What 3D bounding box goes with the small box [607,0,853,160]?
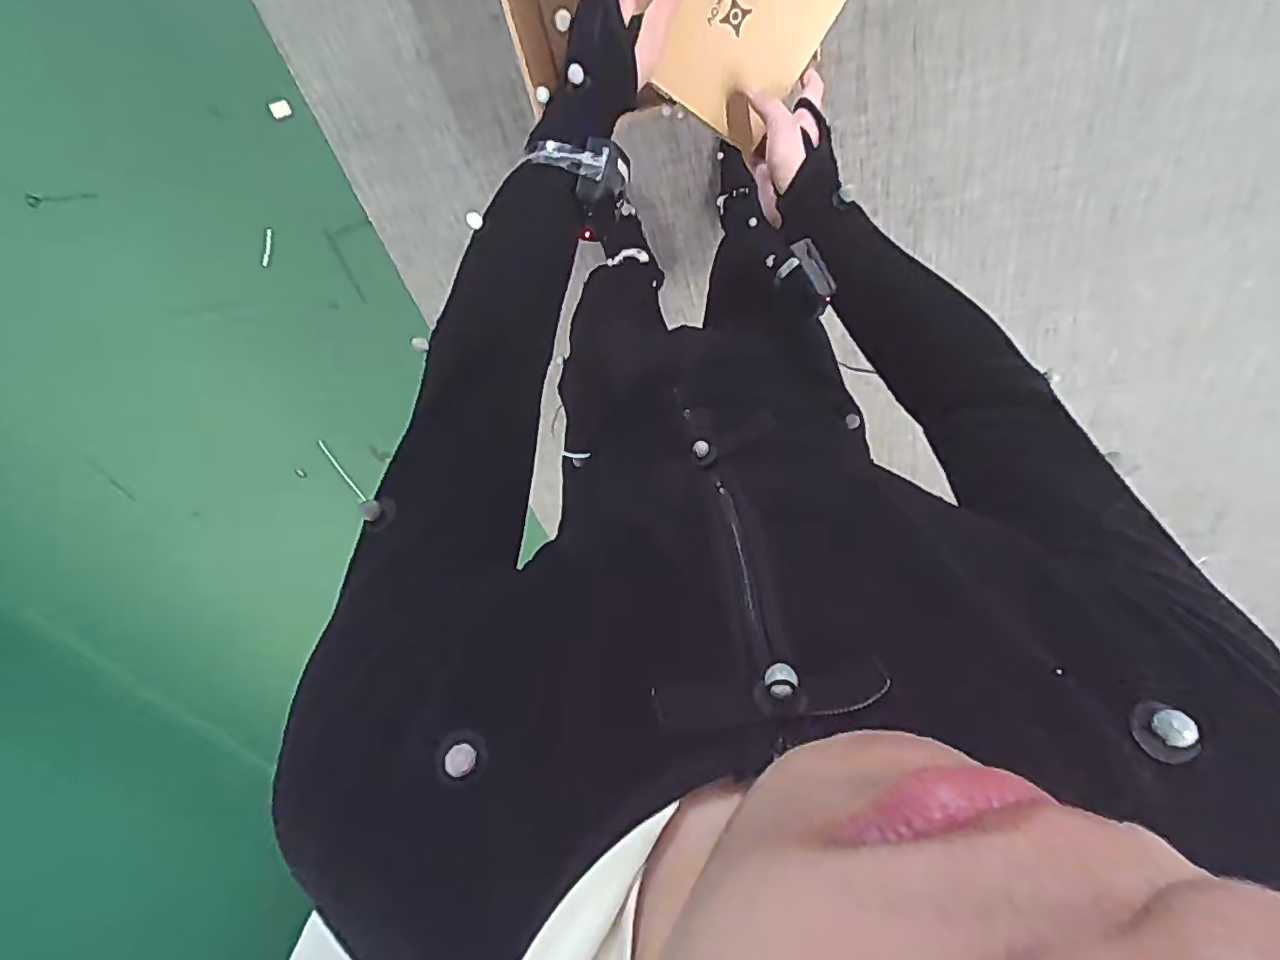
[{"bbox_3d":[0.080,-0.473,0.557,0.179,0.176,0.168,24,123,-20],"label":"small box"}]
